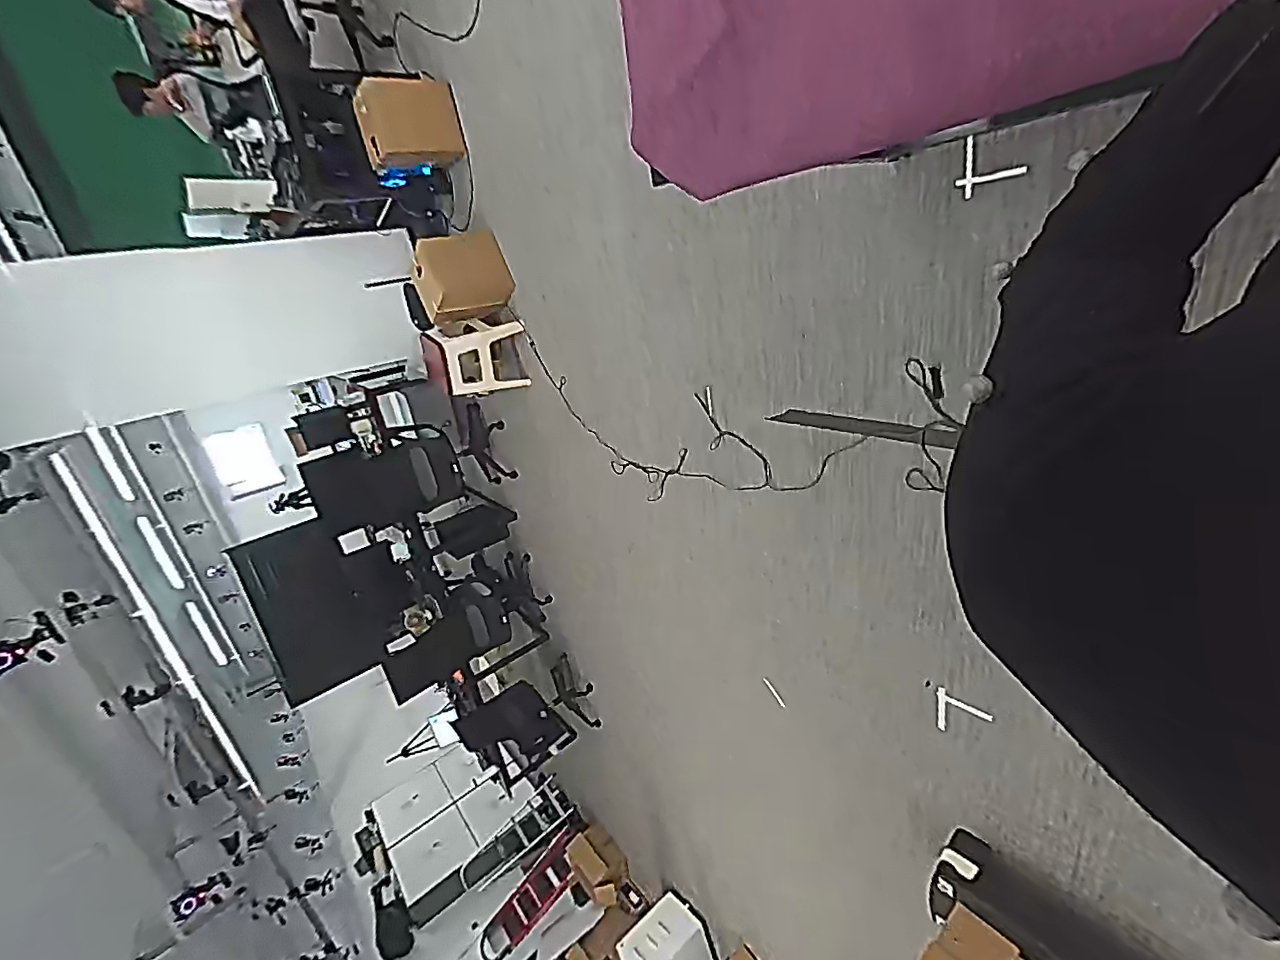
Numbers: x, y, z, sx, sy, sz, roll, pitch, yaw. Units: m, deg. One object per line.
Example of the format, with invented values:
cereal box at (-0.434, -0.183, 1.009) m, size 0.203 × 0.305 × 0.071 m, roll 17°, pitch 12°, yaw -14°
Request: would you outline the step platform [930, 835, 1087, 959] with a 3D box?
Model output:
step platform at (1.243, 1.431, 1.608) m, size 0.684 × 0.204 × 0.286 m, roll 17°, pitch 125°, yaw 49°
